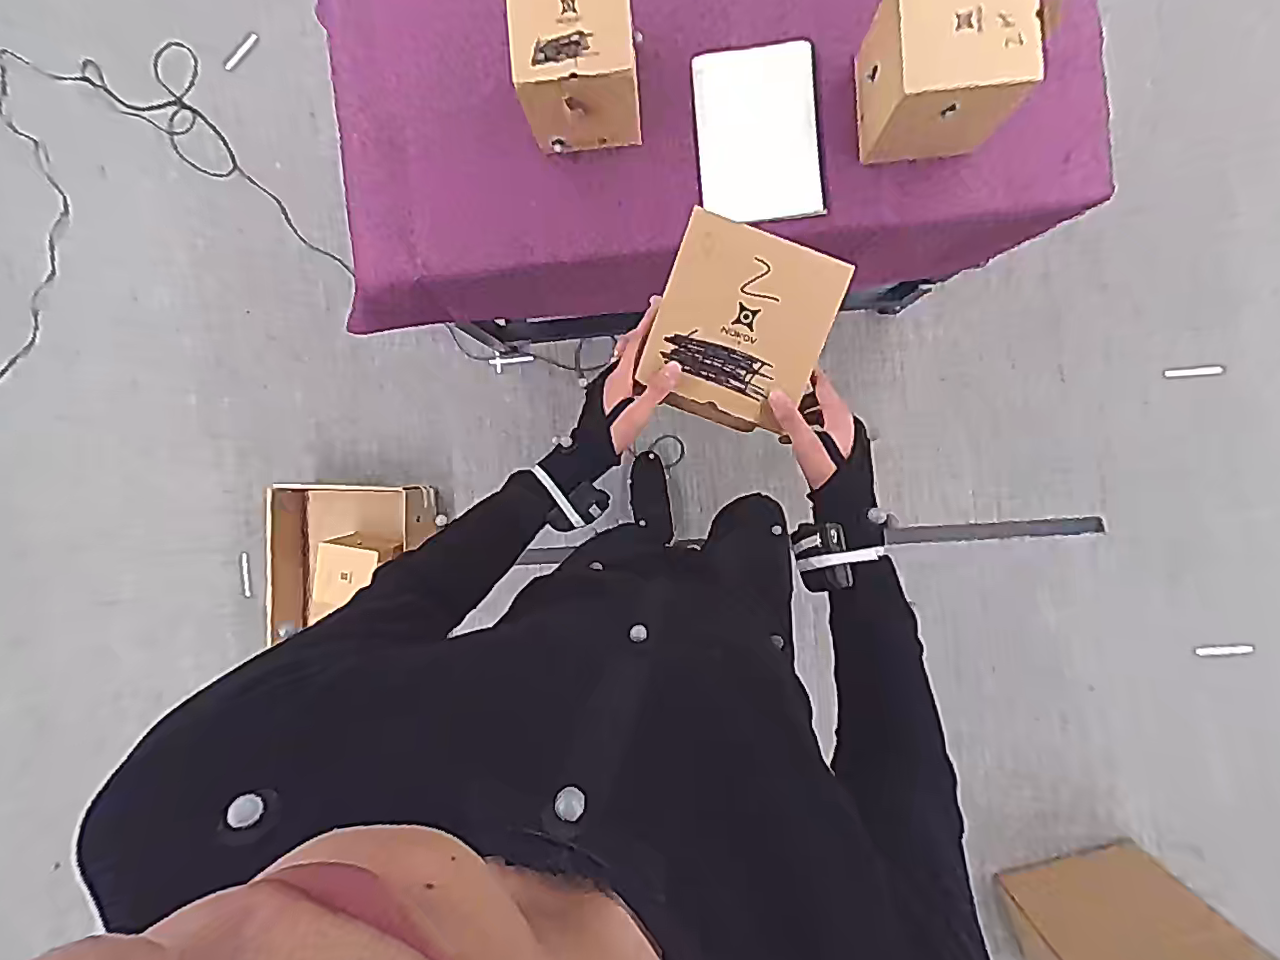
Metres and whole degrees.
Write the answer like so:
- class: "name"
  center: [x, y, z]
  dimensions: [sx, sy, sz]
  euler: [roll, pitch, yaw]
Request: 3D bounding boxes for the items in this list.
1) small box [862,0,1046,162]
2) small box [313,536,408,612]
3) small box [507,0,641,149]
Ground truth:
- class: "small box"
  center: [0.423, -0.574, 0.760]
  dimensions: [0.179, 0.176, 0.168]
  euler: [-3, 92, 4]
- class: "small box"
  center: [-0.792, 0.262, 1.547]
  dimensions: [0.179, 0.176, 0.168]
  euler: [9, 93, 3]
- class: "small box"
  center: [-0.088, -0.614, 0.790]
  dimensions: [0.168, 0.176, 0.179]
  euler: [-4, 91, 3]
